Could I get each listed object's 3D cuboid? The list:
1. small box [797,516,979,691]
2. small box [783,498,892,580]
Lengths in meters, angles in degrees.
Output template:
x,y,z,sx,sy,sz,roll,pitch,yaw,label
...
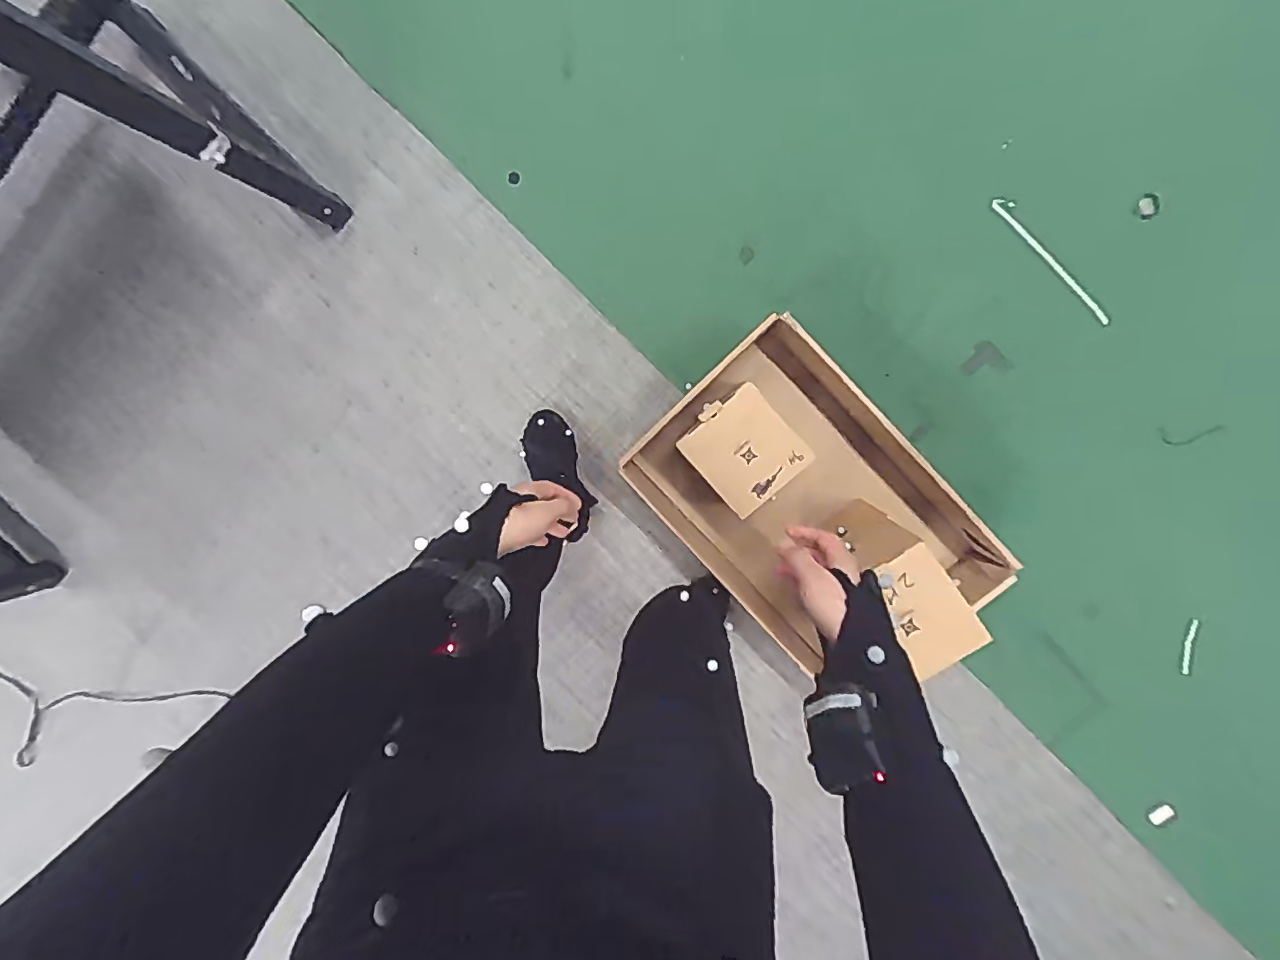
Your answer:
x,y,z,sx,sy,sz,roll,pitch,yaw,label
0.370,0.180,0.841,0.168,0.176,0.179,-35,94,9,small box
0.388,0.153,1.002,0.179,0.176,0.168,-36,94,10,small box
